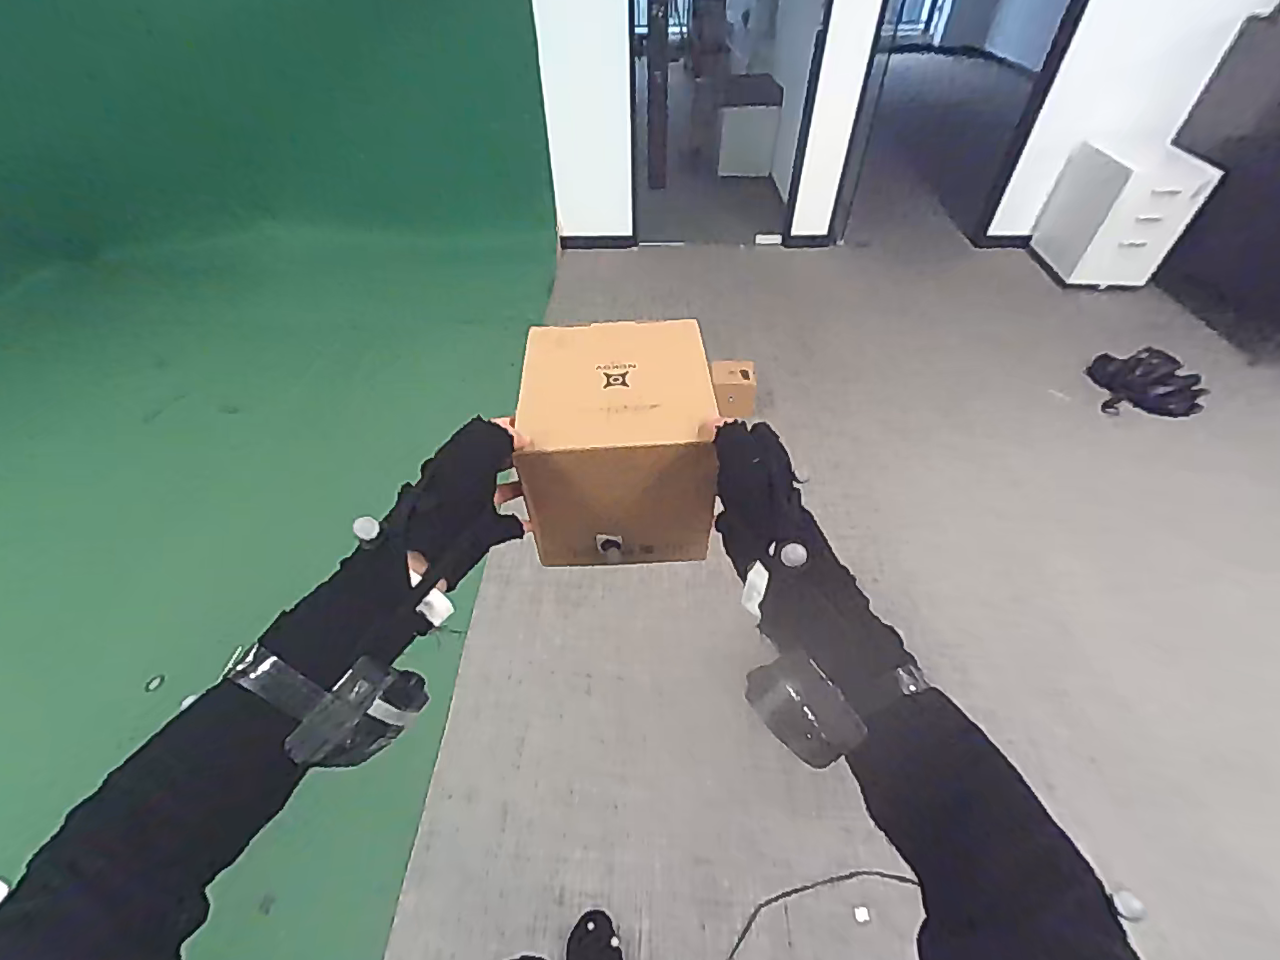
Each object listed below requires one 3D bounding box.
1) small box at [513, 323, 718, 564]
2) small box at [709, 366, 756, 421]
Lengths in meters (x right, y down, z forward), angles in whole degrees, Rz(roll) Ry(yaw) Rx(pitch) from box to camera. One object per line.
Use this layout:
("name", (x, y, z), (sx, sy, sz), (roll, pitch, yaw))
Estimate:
("small box", (-0.022, -0.037, 0.540), (0.168, 0.176, 0.179), (-3, 47, -1))
("small box", (0.385, -0.363, 2.277), (0.179, 0.176, 0.168), (1, 45, 4))
